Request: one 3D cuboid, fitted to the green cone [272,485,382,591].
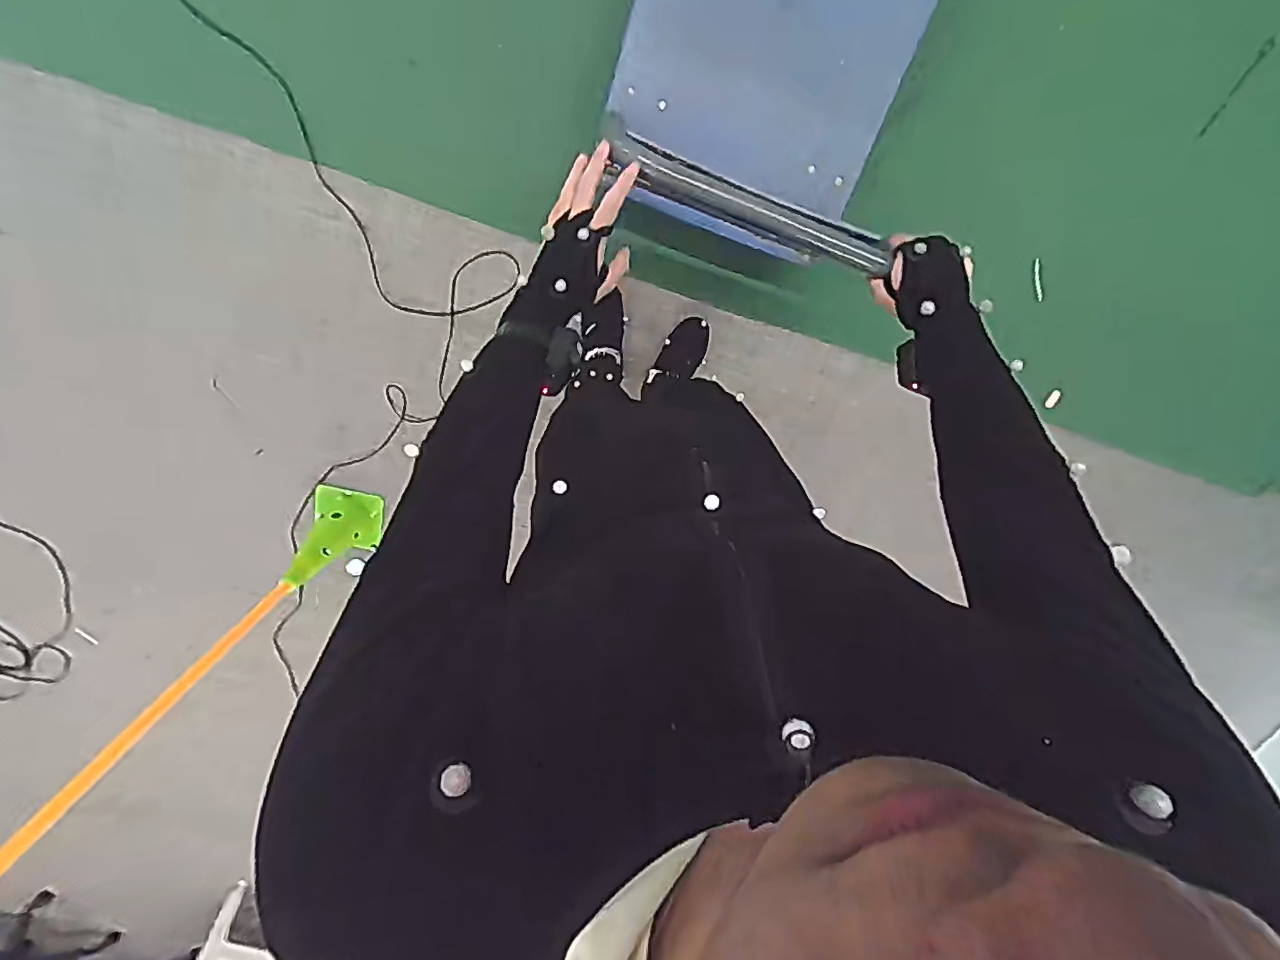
[{"bbox_3d":[-0.907,0.189,1.528,0.202,0.368,0.200,13,113,-7],"label":"green cone"}]
